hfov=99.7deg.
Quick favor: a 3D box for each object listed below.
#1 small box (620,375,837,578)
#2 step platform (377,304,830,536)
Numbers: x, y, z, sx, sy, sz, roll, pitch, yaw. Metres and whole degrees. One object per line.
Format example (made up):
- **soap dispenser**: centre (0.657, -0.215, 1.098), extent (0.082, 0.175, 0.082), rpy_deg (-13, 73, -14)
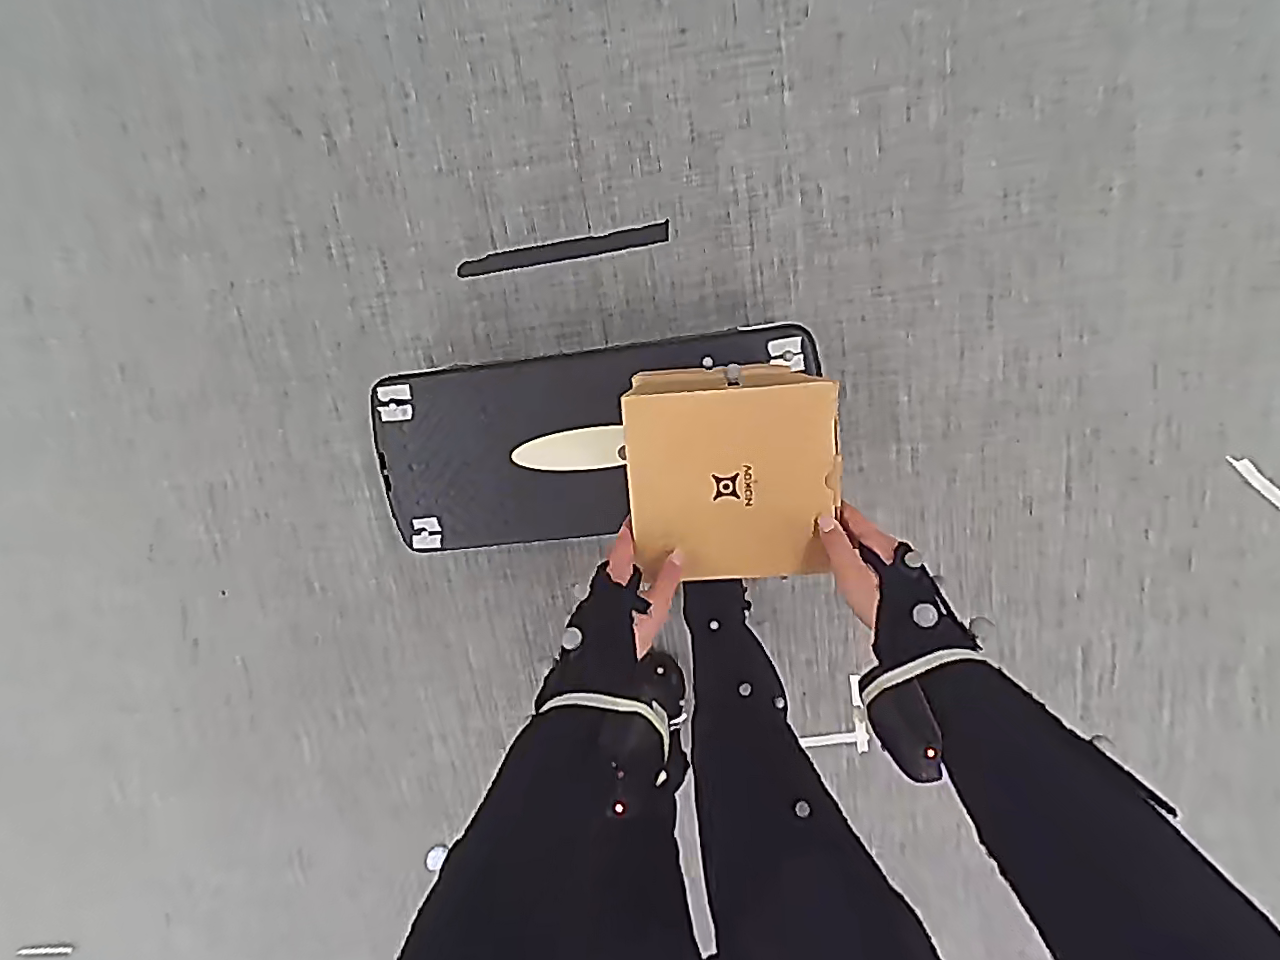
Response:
- **small box**: centre (0.081, -0.014, 0.530), extent (0.179, 0.176, 0.168), rpy_deg (-4, 102, 4)
- **step platform**: centre (-0.051, -0.092, 0.866), extent (0.684, 0.204, 0.286), rpy_deg (-6, 102, 6)
